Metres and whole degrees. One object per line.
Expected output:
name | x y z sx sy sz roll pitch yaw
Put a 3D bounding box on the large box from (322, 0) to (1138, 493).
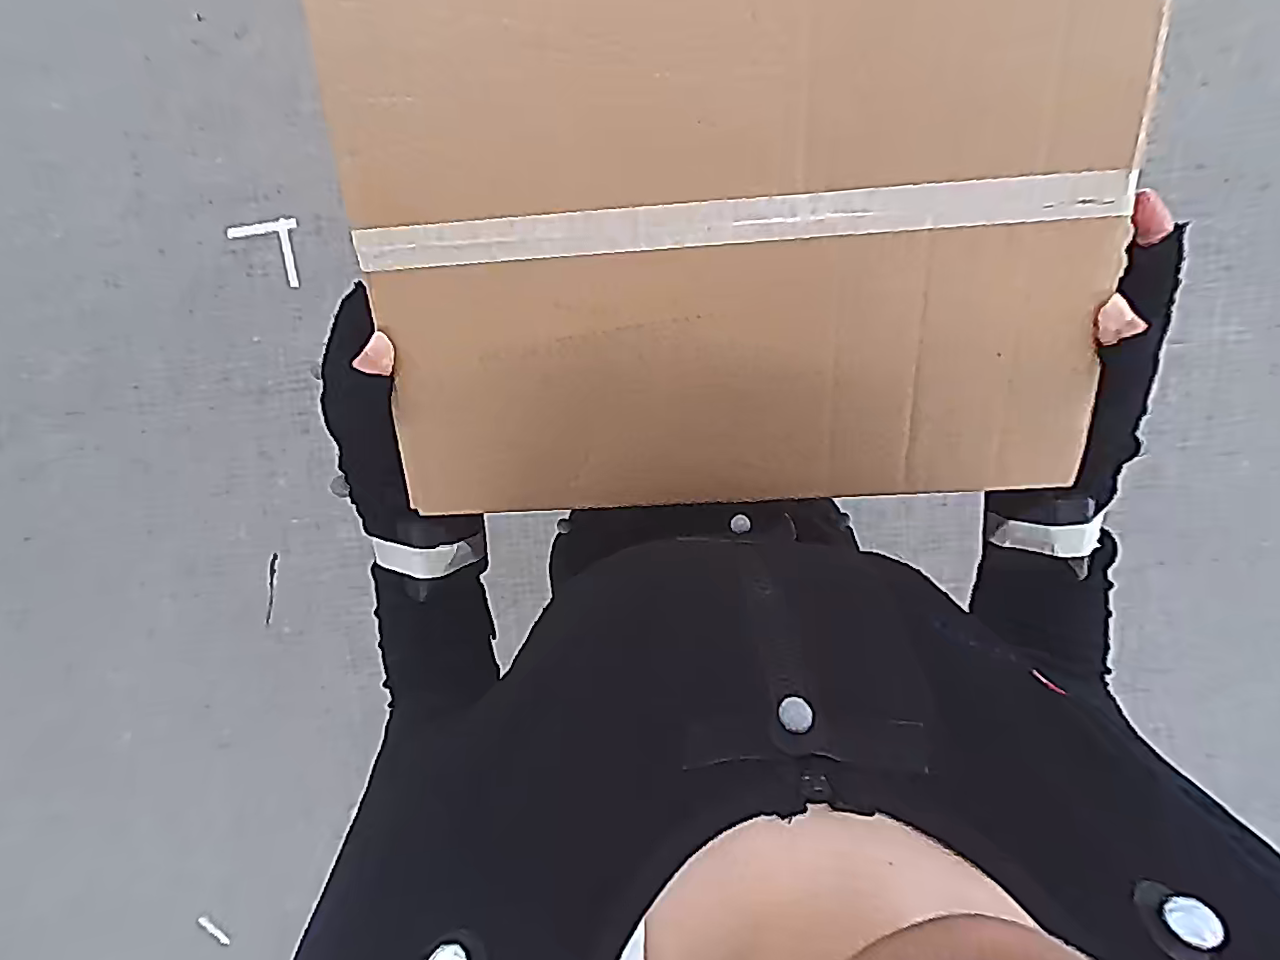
large box | 0.049 -0.194 0.436 0.408 0.320 0.320 -3 110 3
